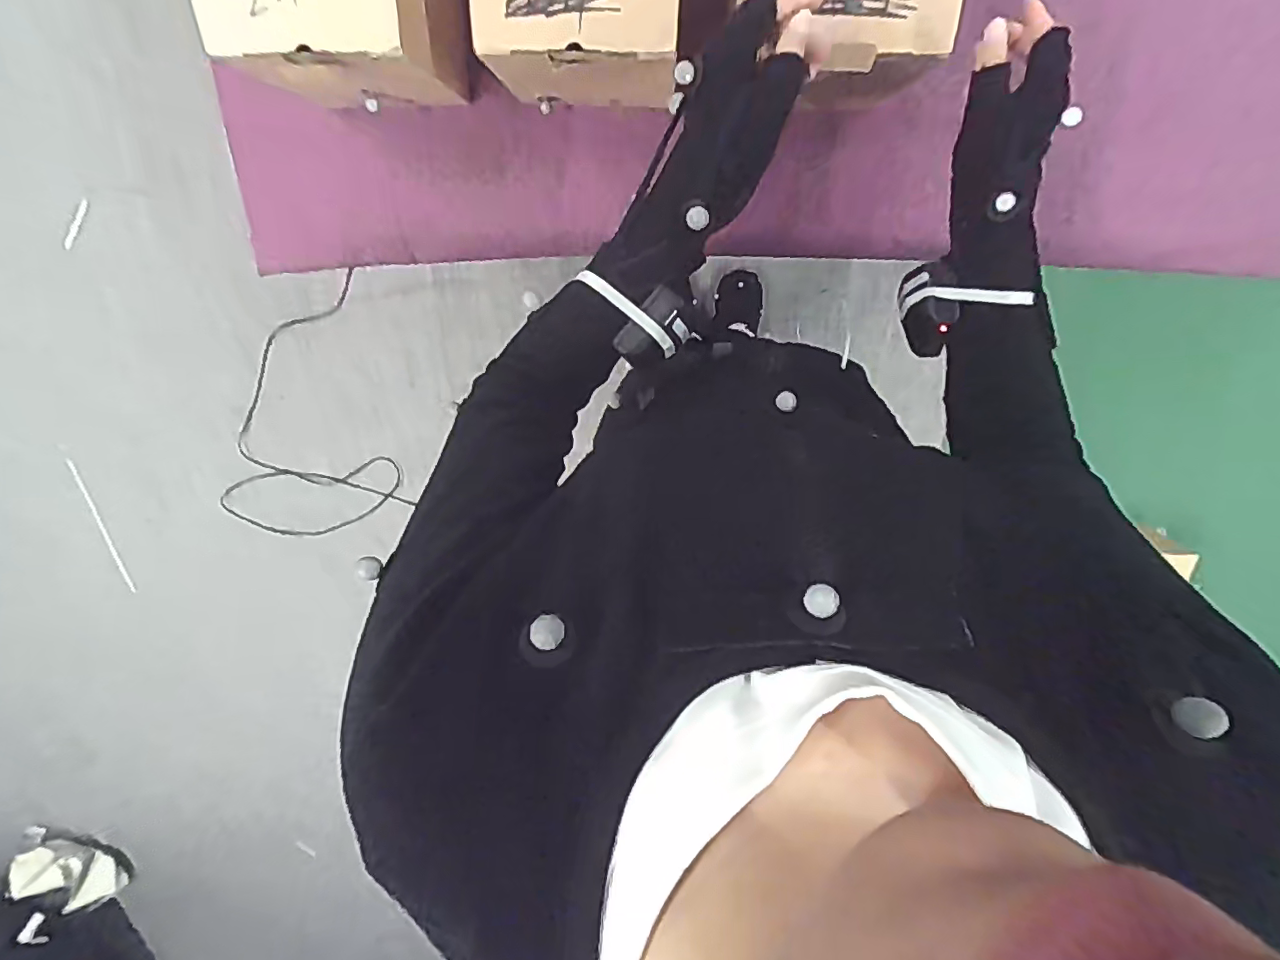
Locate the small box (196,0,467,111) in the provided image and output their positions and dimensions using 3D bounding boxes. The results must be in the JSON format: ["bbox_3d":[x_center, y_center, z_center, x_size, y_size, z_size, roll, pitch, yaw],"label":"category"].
[{"bbox_3d":[-0.270,-0.457,0.487,0.168,0.176,0.179,1,113,2],"label":"small box"}]
